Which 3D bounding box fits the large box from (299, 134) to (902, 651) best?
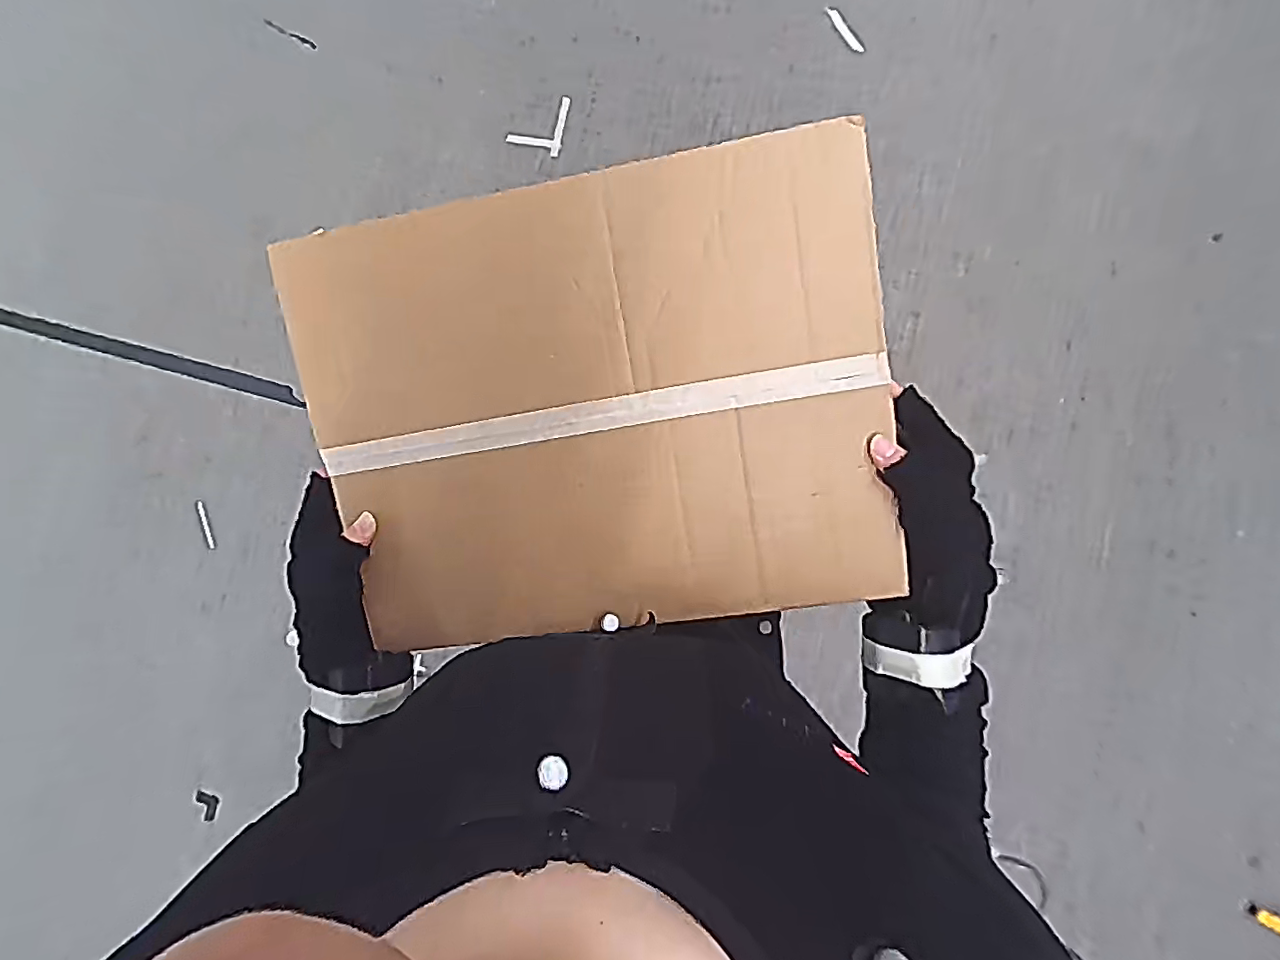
[{"bbox_3d":[-0.018,-0.064,0.535,0.408,0.320,0.320,-9,99,7],"label":"large box"}]
